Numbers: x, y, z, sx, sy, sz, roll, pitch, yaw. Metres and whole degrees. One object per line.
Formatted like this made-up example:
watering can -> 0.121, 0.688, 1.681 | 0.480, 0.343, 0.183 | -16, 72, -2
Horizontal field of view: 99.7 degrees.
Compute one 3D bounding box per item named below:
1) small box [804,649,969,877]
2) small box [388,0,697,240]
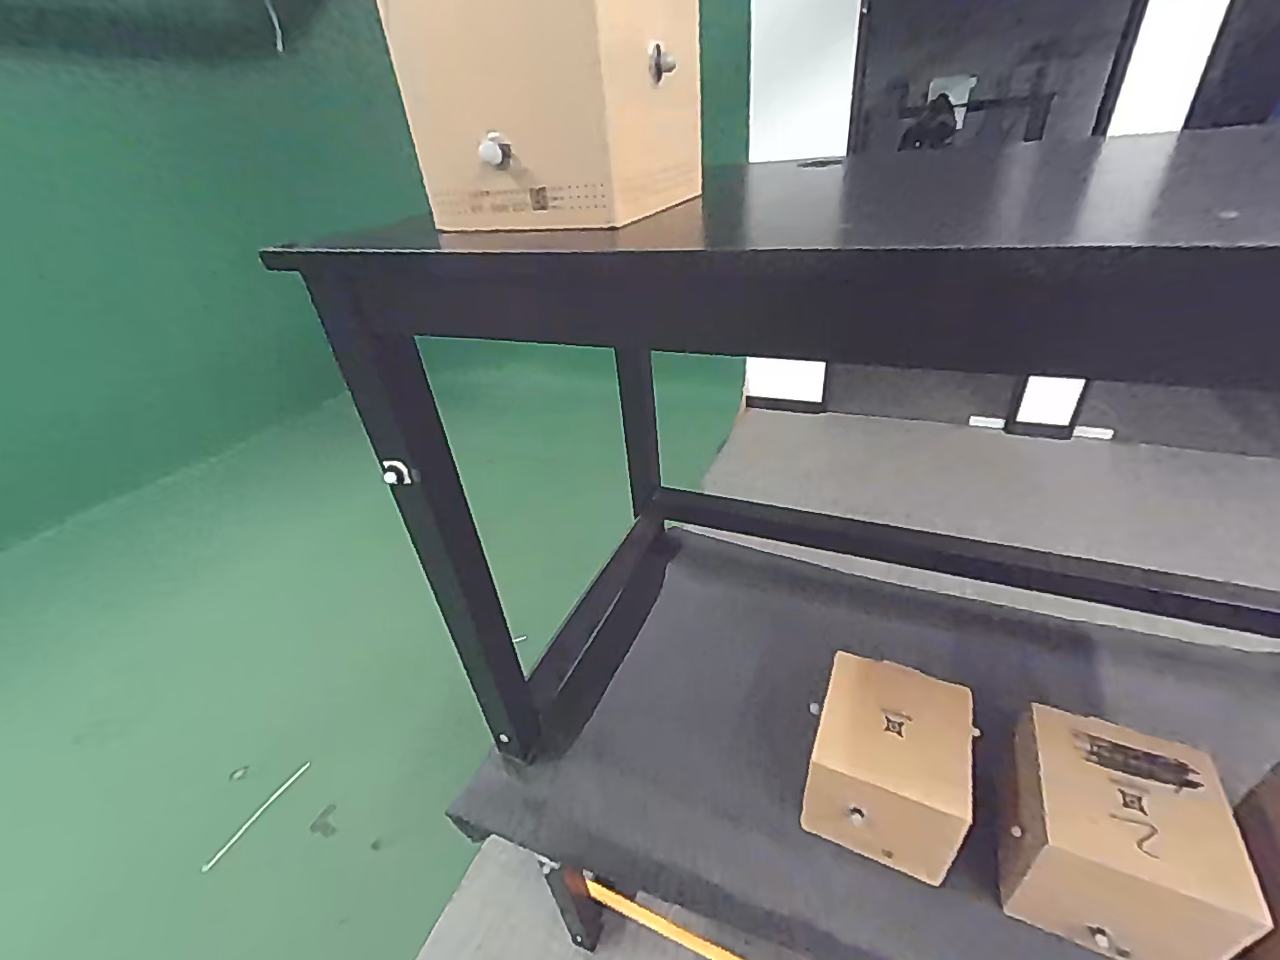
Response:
small box -> 0.314, 0.361, 0.699 | 0.168, 0.176, 0.179 | 11, 36, 25
small box -> -0.061, -0.296, 0.424 | 0.168, 0.176, 0.179 | 10, 37, 23
